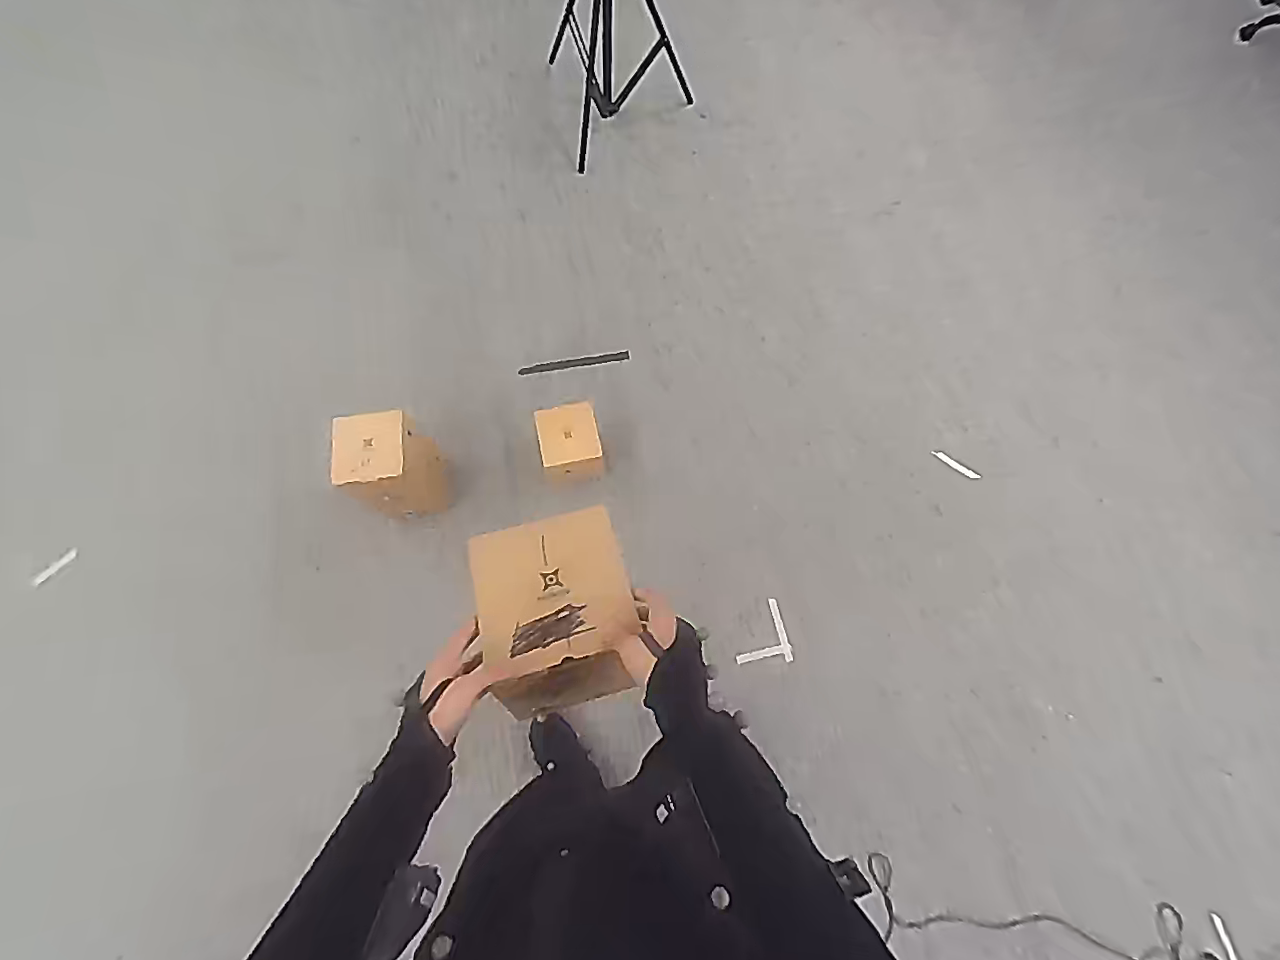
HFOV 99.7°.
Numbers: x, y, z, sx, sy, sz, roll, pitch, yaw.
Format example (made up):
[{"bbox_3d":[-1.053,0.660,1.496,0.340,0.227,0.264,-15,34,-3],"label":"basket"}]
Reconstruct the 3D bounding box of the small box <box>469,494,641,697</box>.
[{"bbox_3d":[-0.097,0.147,0.654,0.168,0.176,0.179,-13,56,-9],"label":"small box"}]

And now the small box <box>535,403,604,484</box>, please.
[{"bbox_3d":[-0.202,-0.098,1.575,0.168,0.176,0.179,-12,70,-7],"label":"small box"}]

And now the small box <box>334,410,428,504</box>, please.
[{"bbox_3d":[-0.644,-0.054,1.360,0.168,0.176,0.179,-8,71,-4],"label":"small box"}]

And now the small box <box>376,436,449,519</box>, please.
[{"bbox_3d":[-0.644,-0.003,1.516,0.168,0.176,0.179,-7,70,-4],"label":"small box"}]
